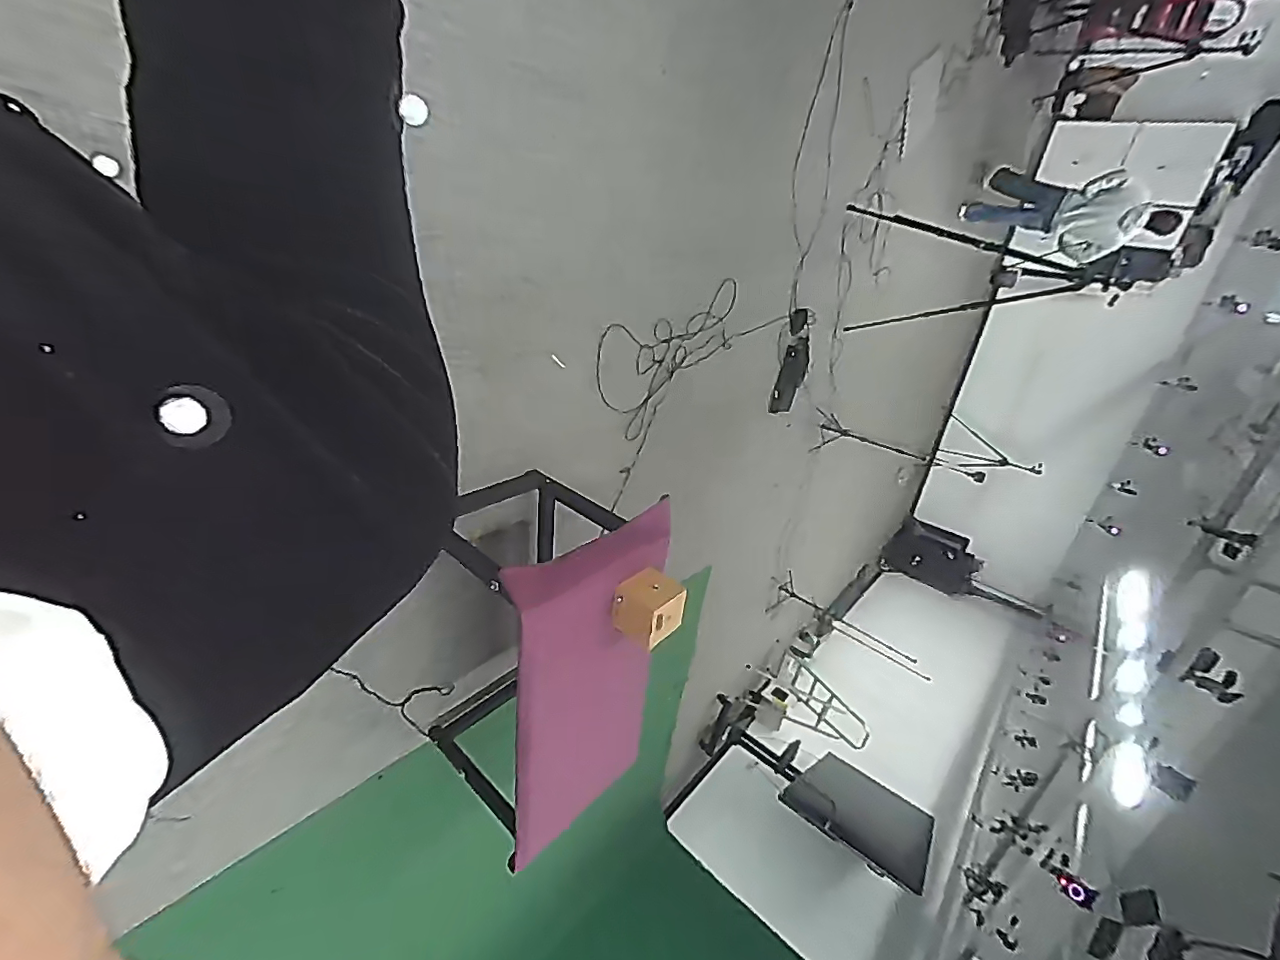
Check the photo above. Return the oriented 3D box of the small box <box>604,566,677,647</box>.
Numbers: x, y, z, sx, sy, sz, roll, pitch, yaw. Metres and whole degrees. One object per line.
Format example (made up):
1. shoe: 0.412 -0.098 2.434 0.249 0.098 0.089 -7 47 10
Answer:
1. small box: -0.002 0.420 1.819 0.179 0.176 0.168 -24 131 -45
